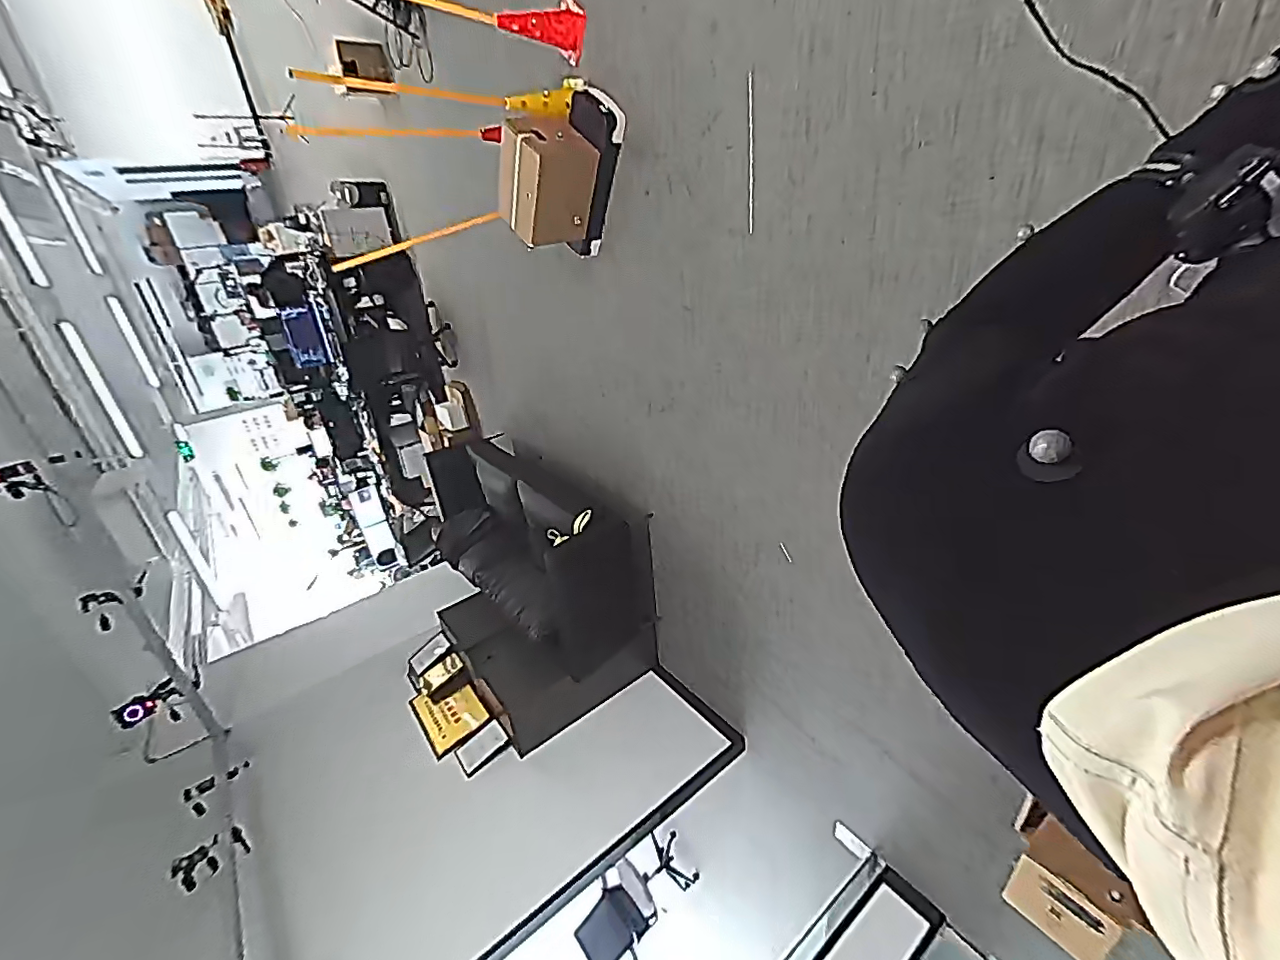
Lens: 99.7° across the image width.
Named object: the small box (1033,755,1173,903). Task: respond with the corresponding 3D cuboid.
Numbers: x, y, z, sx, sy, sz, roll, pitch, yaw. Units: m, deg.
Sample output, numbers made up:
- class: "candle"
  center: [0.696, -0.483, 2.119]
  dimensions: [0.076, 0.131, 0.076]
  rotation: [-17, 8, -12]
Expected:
- class: "small box"
  center: [1.011, 0.755, 1.183]
  dimensions: [0.168, 0.176, 0.179]
  rotation: [31, 133, 46]
